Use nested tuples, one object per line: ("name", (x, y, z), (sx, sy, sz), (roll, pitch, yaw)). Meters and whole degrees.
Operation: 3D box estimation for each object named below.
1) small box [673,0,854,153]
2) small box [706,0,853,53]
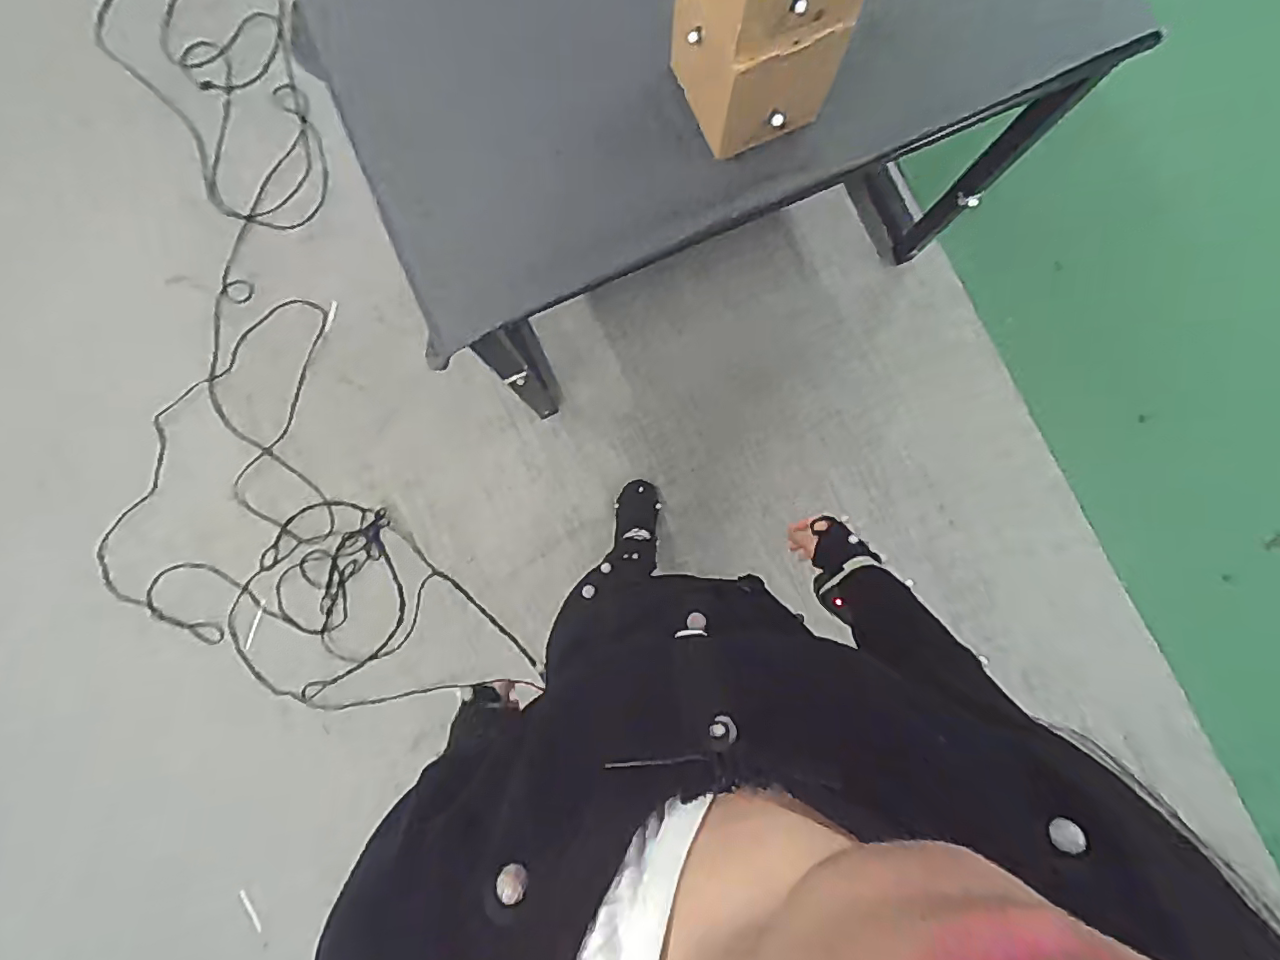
("small box", (0.152, -0.600, 0.739), (0.168, 0.176, 0.179), (-24, 86, -1))
("small box", (0.151, -0.623, 0.578), (0.168, 0.176, 0.179), (-23, 86, -2))
